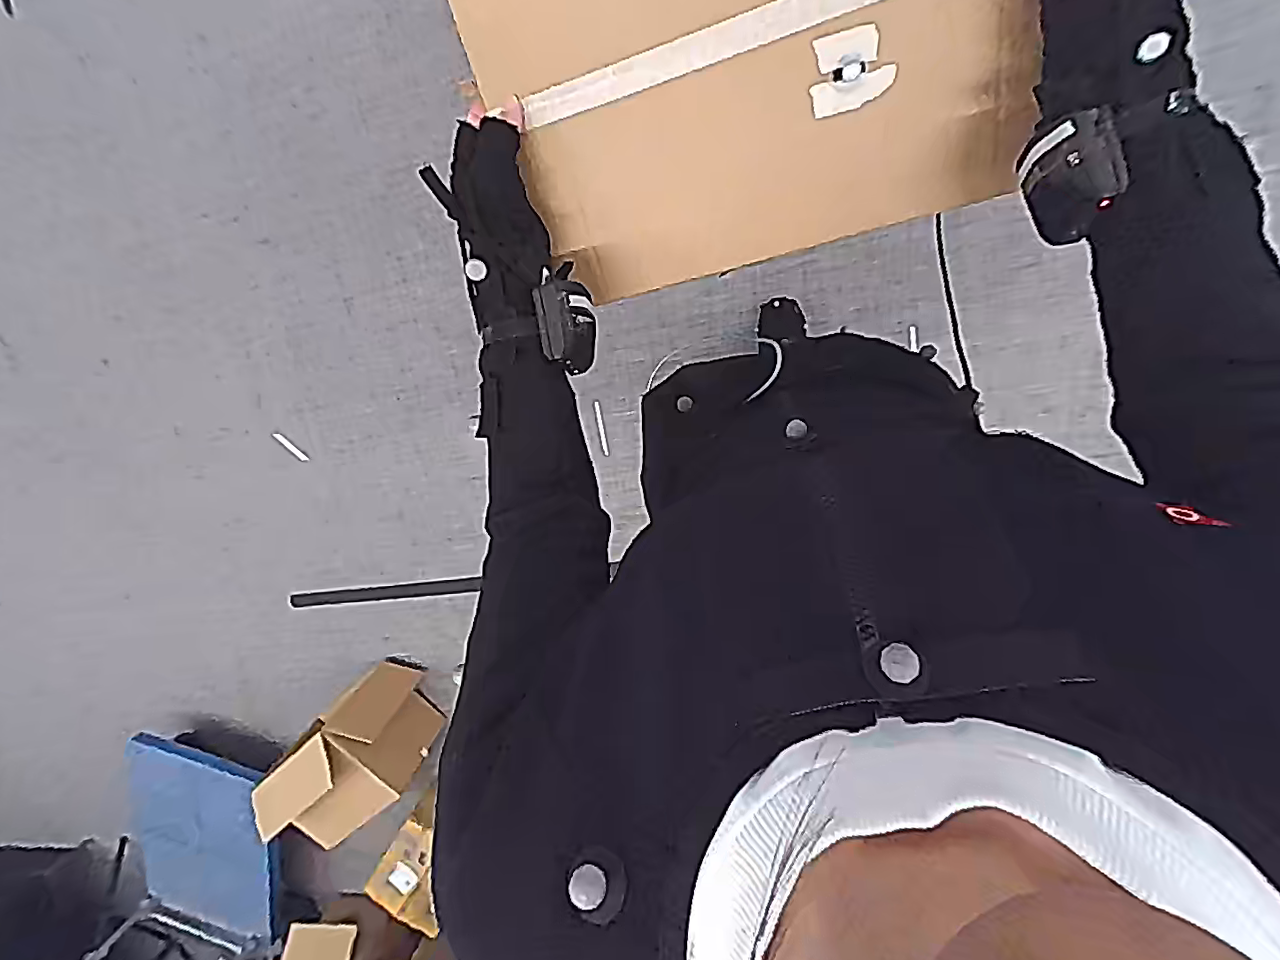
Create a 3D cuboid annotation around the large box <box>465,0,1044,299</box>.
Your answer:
[{"bbox_3d":[0.092,-0.410,0.525,0.408,0.320,0.320,-11,119,12],"label":"large box"}]
